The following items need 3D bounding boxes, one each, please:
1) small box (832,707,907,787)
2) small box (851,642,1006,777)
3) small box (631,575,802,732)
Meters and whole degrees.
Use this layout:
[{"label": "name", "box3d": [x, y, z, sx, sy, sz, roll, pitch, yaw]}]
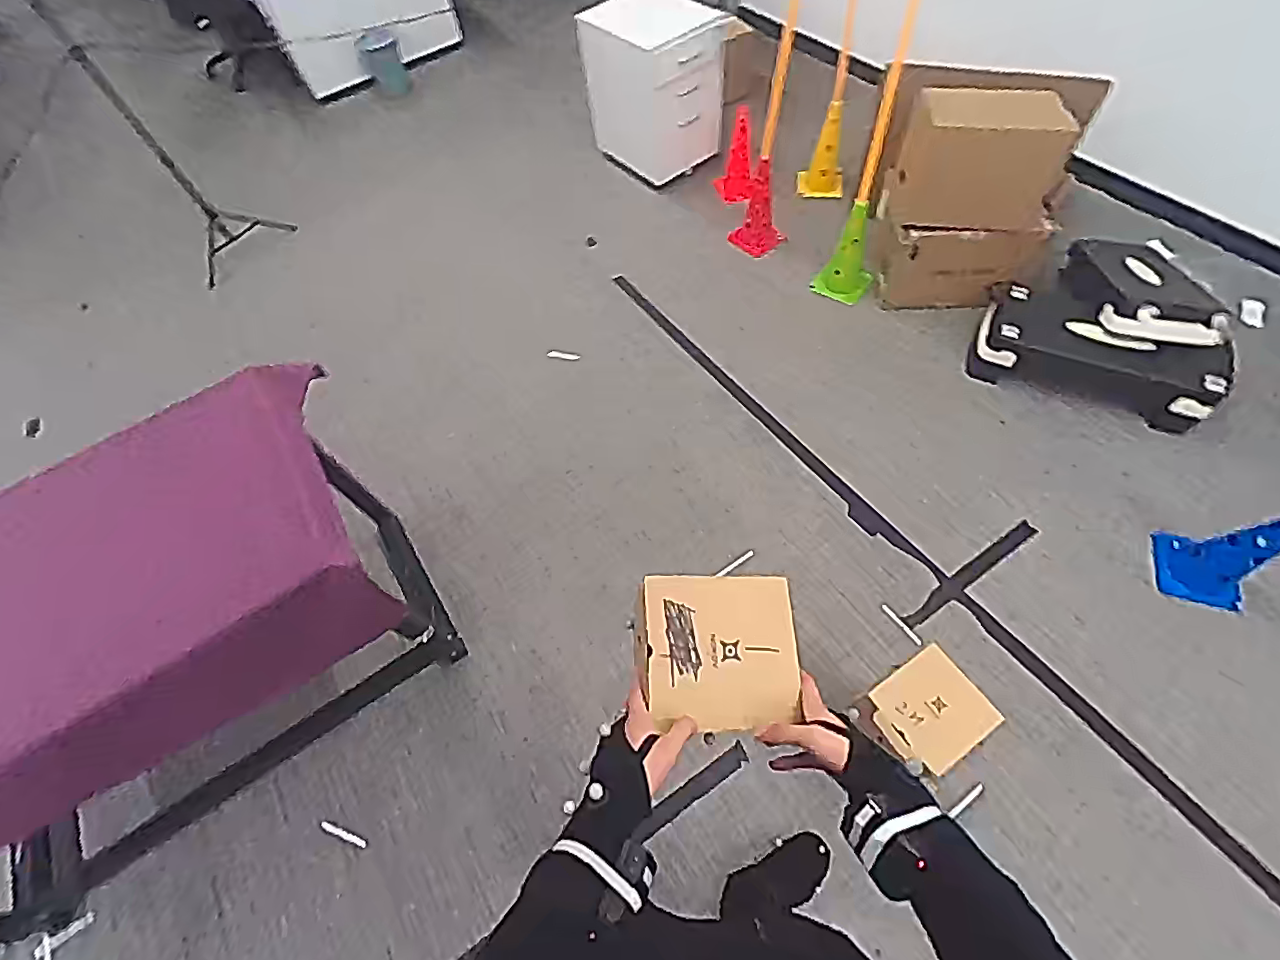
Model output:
[{"label": "small box", "box3d": [0.593, 0.622, 1.321, 0.179, 0.176, 0.168, -36, 63, -14]}, {"label": "small box", "box3d": [0.542, 0.446, 1.046, 0.179, 0.176, 0.168, -31, 62, -11]}, {"label": "small box", "box3d": [0.078, 0.219, 0.668, 0.179, 0.176, 0.168, 0, 67, -5]}]
